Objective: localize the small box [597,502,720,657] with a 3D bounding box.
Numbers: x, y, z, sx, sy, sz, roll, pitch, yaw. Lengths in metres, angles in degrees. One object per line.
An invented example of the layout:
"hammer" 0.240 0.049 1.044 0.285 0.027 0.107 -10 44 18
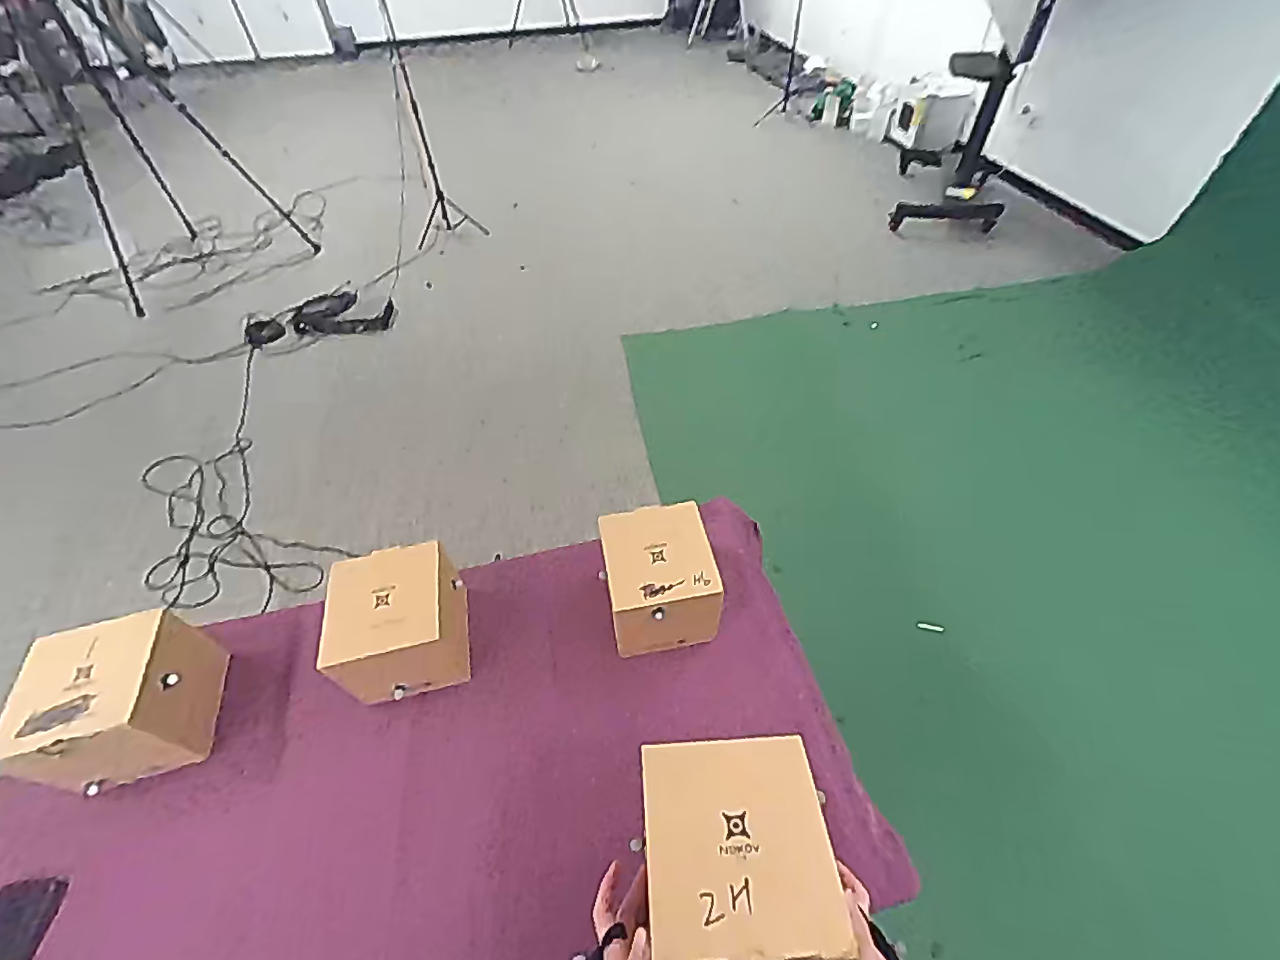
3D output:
"small box" 0.025 0.163 0.888 0.168 0.176 0.179 -10 49 -5

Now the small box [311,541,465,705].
"small box" -0.380 0.226 0.850 0.168 0.176 0.179 -12 50 -7

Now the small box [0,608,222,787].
"small box" -0.751 0.319 0.780 0.168 0.176 0.179 -14 49 -10

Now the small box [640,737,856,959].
"small box" 0.084 0.374 0.521 0.168 0.176 0.179 -3 40 1
